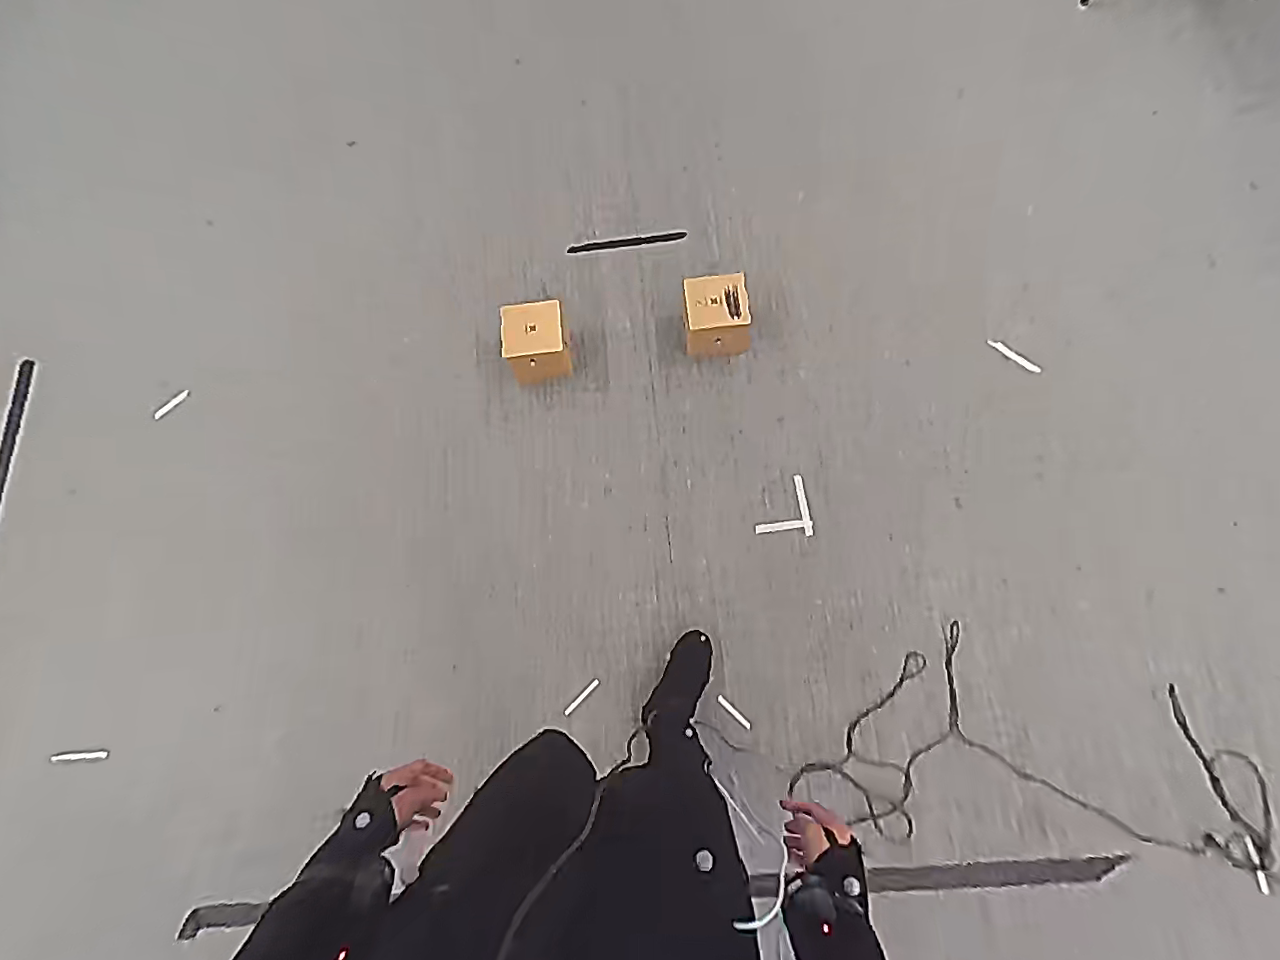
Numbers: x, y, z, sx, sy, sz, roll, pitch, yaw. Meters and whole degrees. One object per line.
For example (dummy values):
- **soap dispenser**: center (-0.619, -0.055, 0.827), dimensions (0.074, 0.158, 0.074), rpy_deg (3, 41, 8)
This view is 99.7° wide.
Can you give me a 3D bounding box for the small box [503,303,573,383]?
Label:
- **small box**: center (-0.299, -0.404, 1.614), dimensions (0.179, 0.176, 0.168), rpy_deg (-6, 75, 2)
